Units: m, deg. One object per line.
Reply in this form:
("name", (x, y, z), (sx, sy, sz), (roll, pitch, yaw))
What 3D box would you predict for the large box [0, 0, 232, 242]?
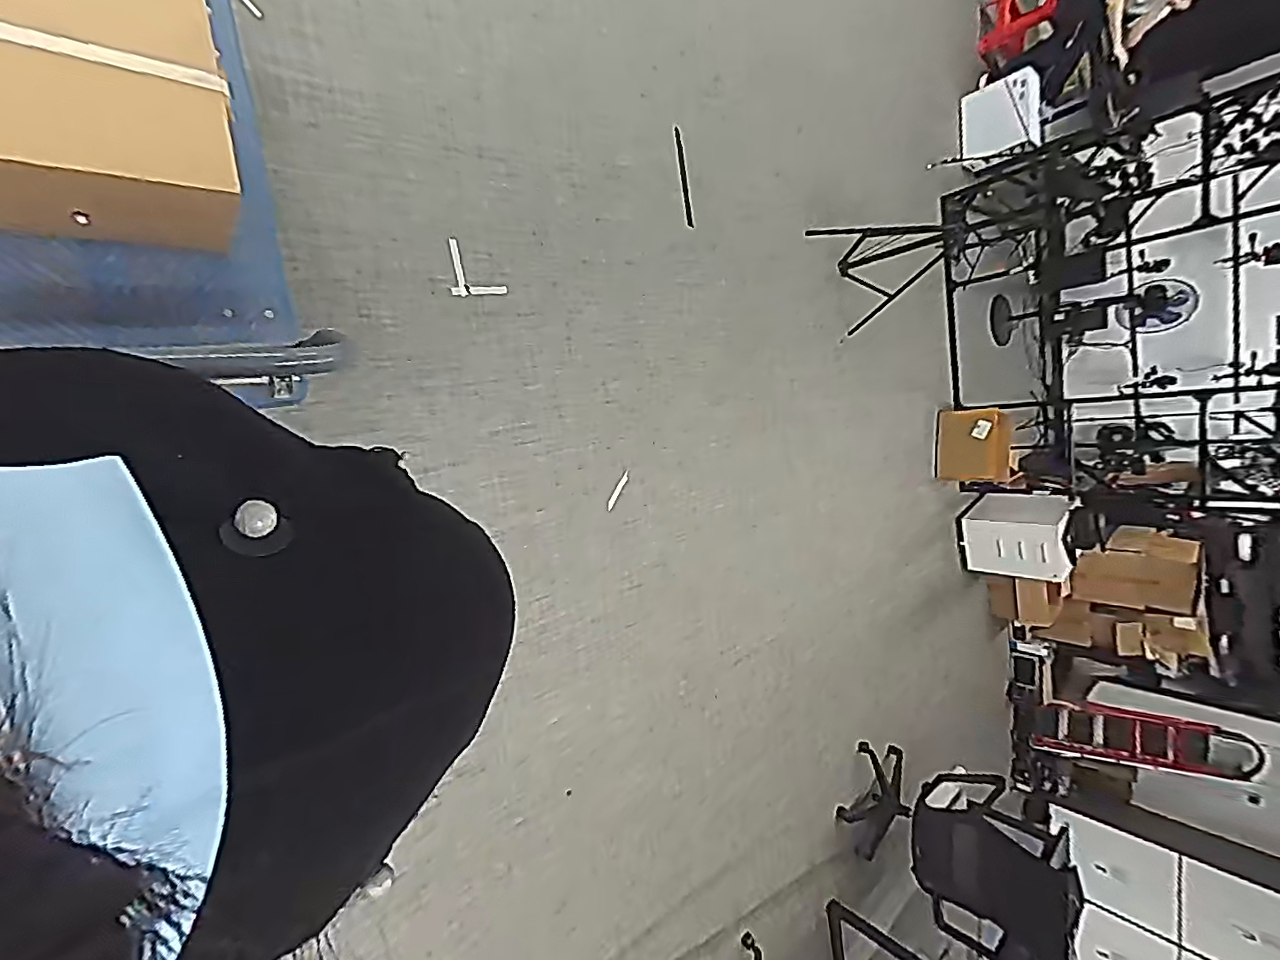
("large box", (-0.901, -0.581, 0.823), (0.408, 0.320, 0.320), (-11, 97, -38))
